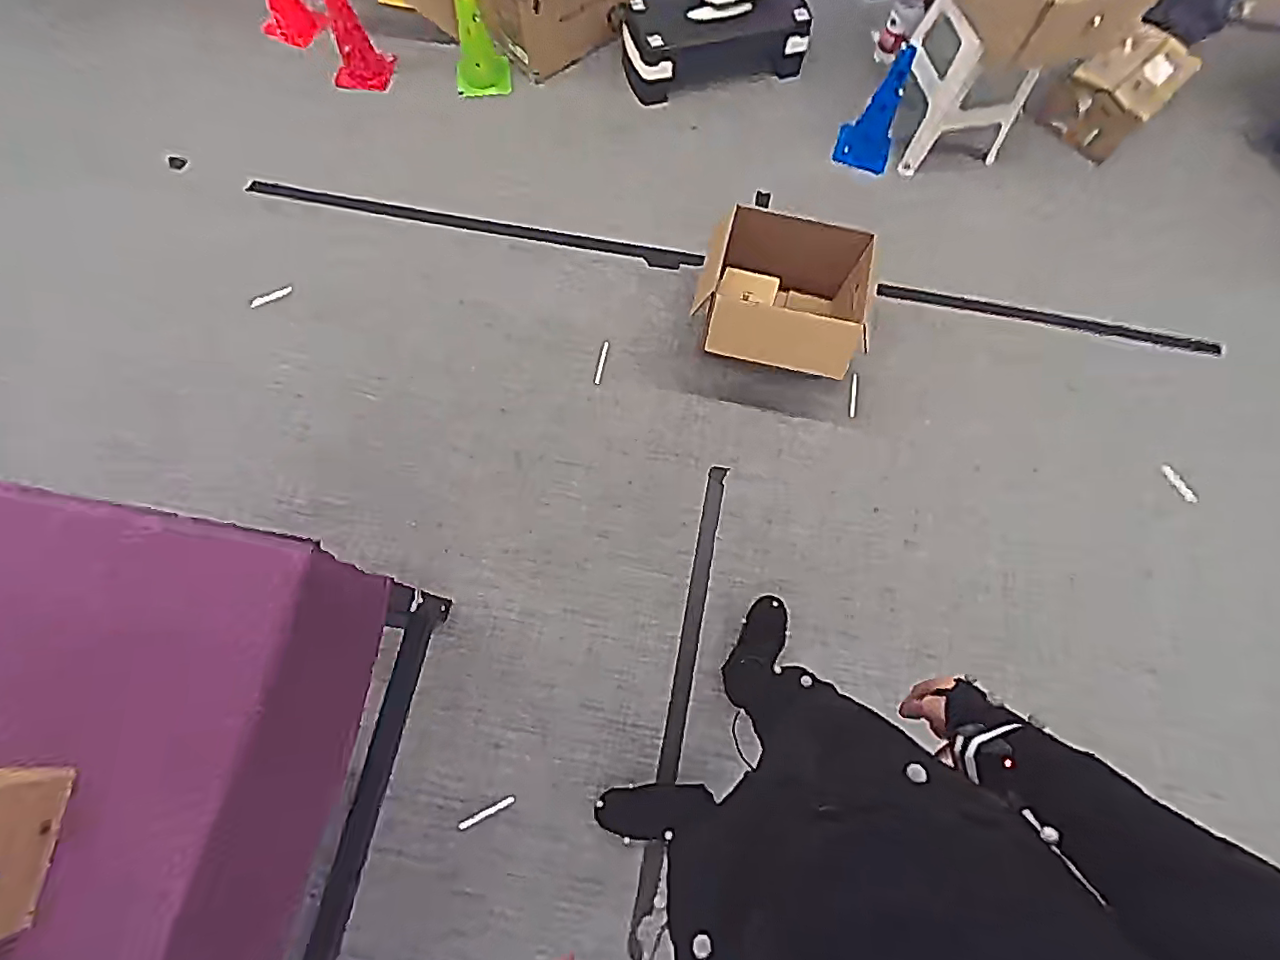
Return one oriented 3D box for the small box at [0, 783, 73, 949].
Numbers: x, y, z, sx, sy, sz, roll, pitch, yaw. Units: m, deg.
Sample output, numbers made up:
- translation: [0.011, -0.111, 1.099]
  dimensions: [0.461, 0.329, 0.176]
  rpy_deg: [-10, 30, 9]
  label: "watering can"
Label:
- translation: [-0.779, 0.426, 0.568]
  dimensions: [0.179, 0.176, 0.168]
  rpy_deg: [1, 71, -1]
  label: "small box"
